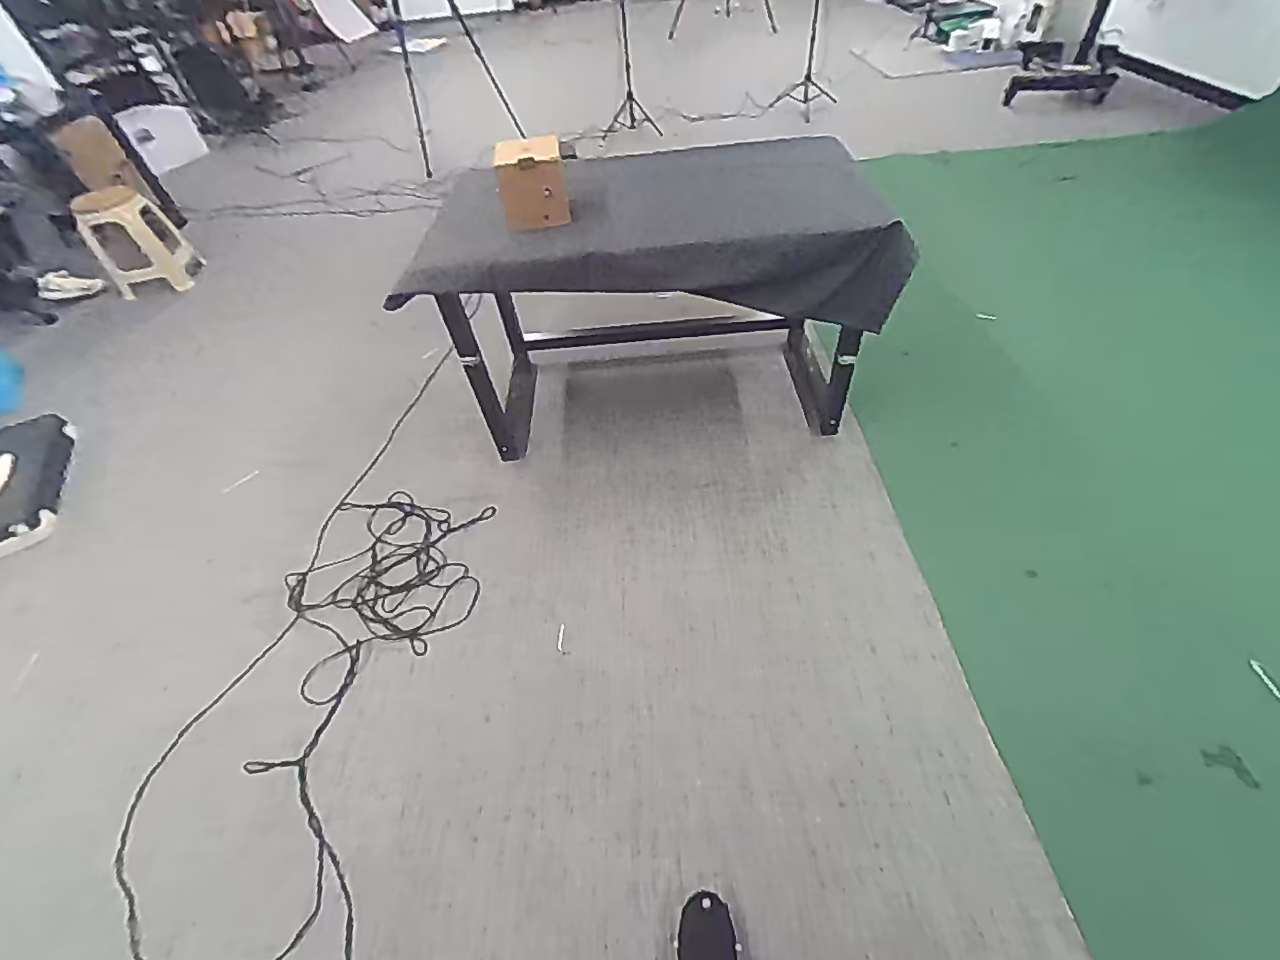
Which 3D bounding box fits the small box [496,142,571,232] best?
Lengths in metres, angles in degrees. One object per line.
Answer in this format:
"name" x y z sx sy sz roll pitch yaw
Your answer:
"small box" -0.281 -0.777 1.445 0.168 0.176 0.179 -8 47 -3
